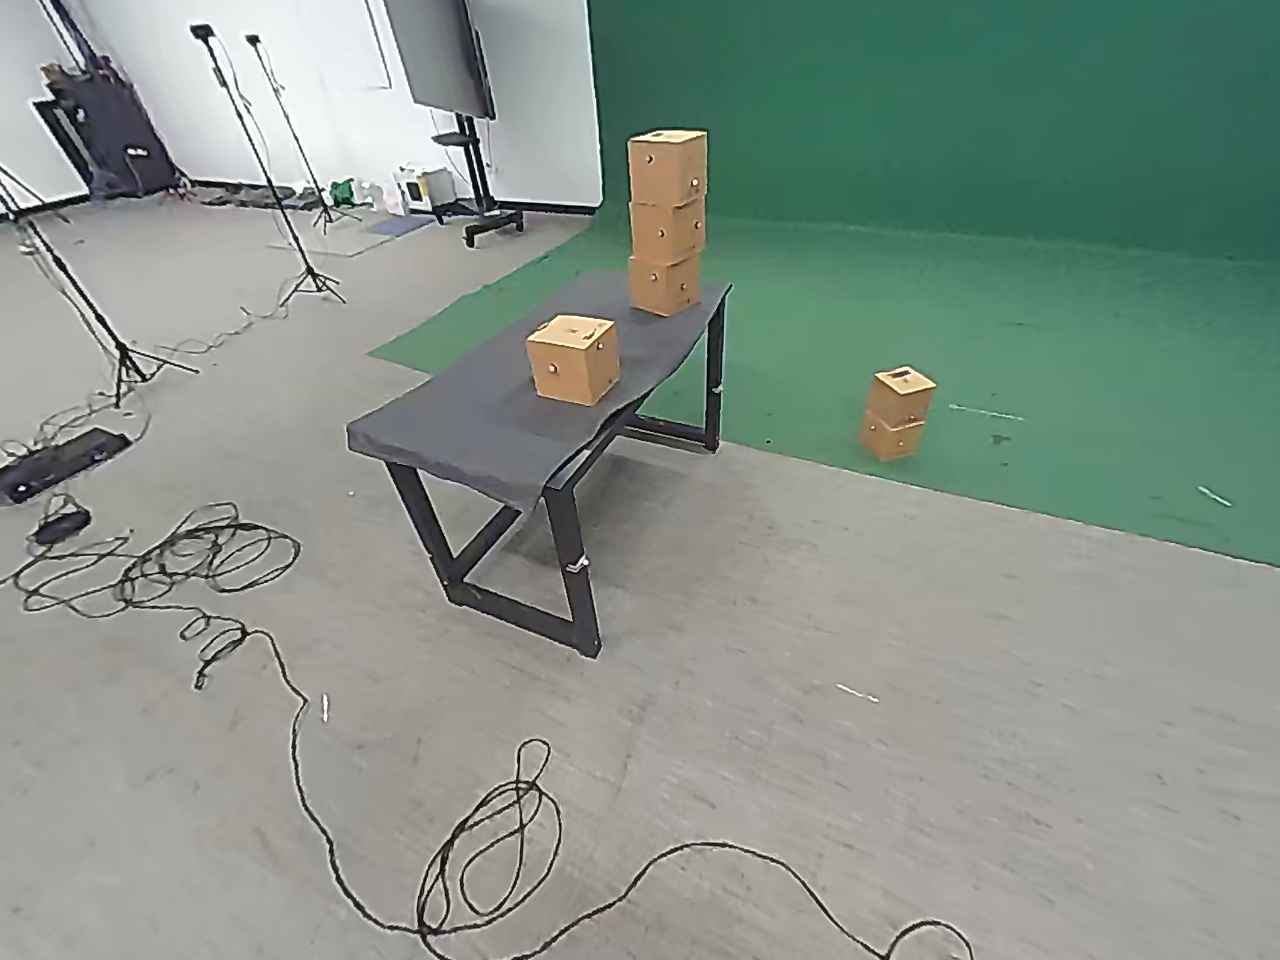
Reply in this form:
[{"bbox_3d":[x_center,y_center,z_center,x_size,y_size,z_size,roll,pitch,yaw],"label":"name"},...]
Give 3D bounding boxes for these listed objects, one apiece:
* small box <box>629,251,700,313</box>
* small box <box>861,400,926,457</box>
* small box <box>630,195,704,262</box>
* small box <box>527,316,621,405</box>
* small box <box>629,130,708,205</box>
[{"bbox_3d":[0.087,-0.676,1.817,0.168,0.176,0.179,-35,47,-30],"label":"small box"},{"bbox_3d":[1.080,-0.215,2.312,0.168,0.176,0.179,-15,41,-11],"label":"small box"},{"bbox_3d":[0.091,-0.808,1.721,0.179,0.176,0.168,25,48,33],"label":"small box"},{"bbox_3d":[-0.168,-0.317,1.436,0.179,0.176,0.168,14,44,22],"label":"small box"},{"bbox_3d":[0.087,-0.936,1.617,0.179,0.176,0.168,21,47,28],"label":"small box"}]
